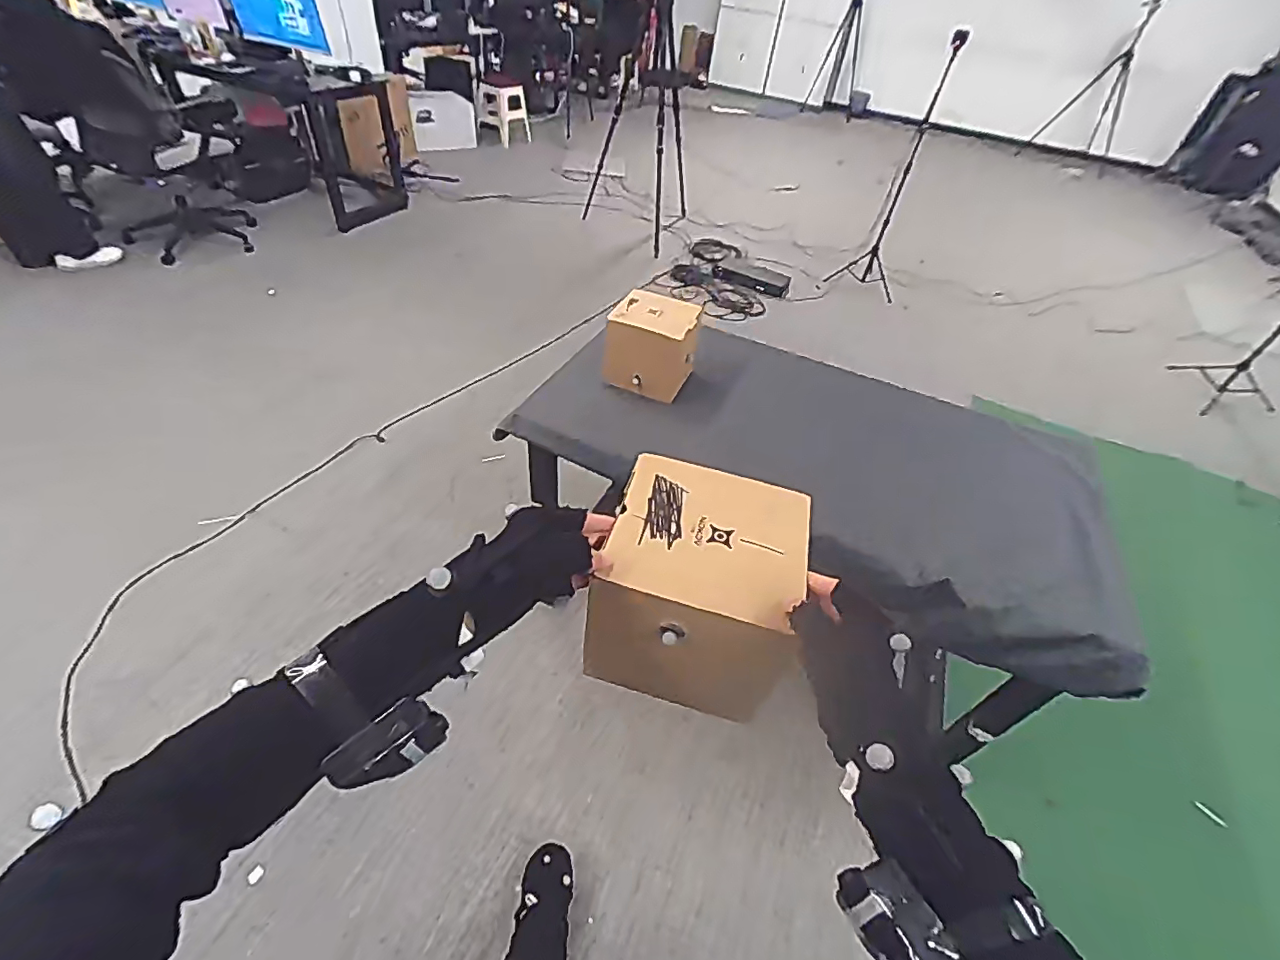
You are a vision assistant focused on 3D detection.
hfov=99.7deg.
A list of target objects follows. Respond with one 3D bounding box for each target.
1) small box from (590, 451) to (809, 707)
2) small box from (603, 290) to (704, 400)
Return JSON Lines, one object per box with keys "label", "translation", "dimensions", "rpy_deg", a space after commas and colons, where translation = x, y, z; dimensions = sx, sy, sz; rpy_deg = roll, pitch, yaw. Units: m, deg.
{"label": "small box", "translation": [0.056, 0.102, 0.546], "dimensions": [0.179, 0.176, 0.168], "rpy_deg": [16, 44, 6]}
{"label": "small box", "translation": [0.028, -0.308, 1.252], "dimensions": [0.179, 0.176, 0.168], "rpy_deg": [20, 46, 11]}
